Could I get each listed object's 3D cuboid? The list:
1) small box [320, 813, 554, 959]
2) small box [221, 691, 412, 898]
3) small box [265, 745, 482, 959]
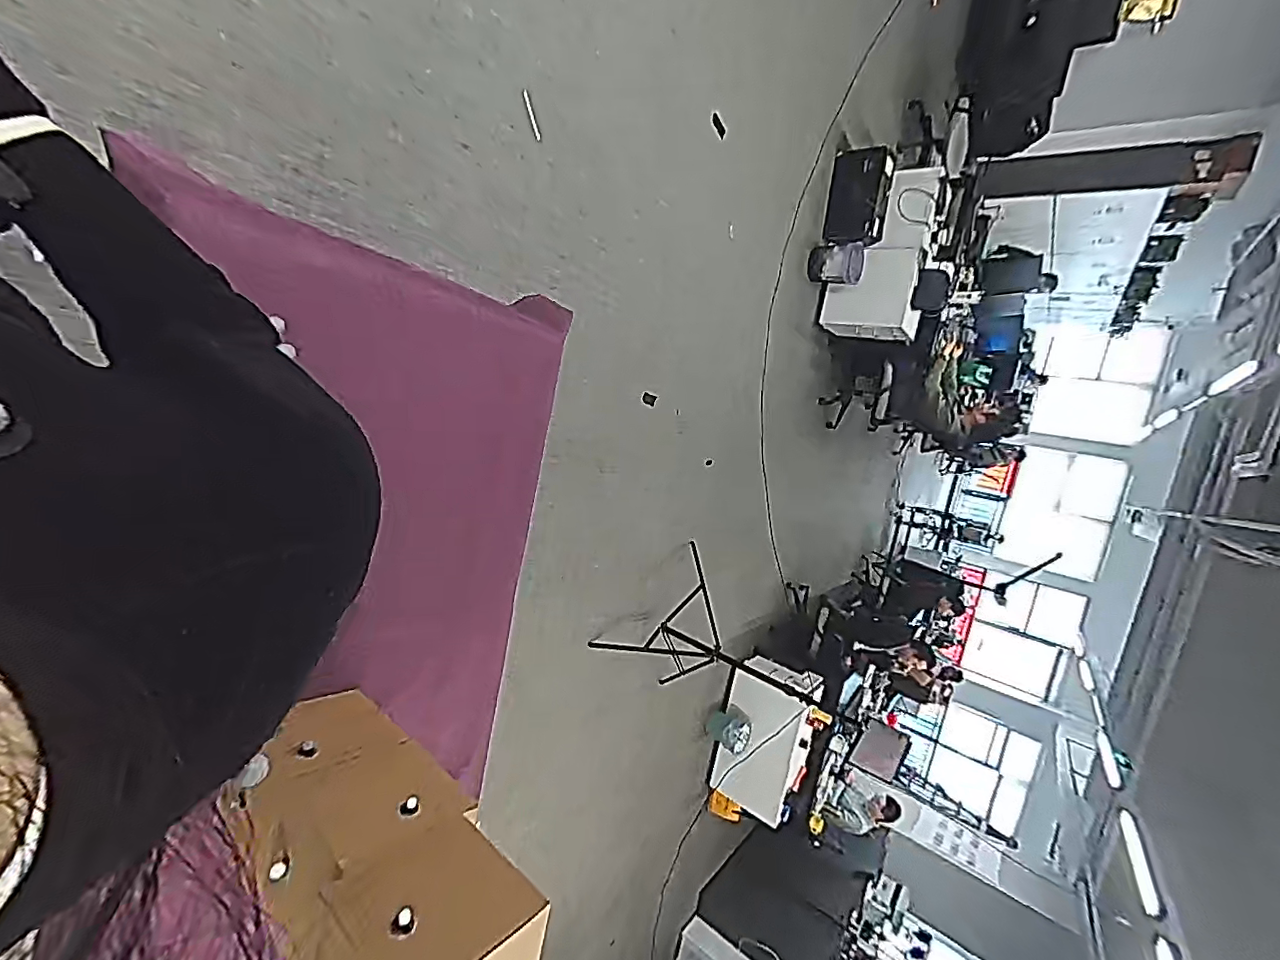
[{"bbox_3d":[-0.224,0.511,0.580,0.179,0.176,0.168,2,102,-55],"label":"small box"},{"bbox_3d":[-0.469,0.434,0.782,0.179,0.176,0.168,8,97,-55],"label":"small box"},{"bbox_3d":[-0.338,0.474,0.691,0.179,0.176,0.168,8,96,-54],"label":"small box"}]
